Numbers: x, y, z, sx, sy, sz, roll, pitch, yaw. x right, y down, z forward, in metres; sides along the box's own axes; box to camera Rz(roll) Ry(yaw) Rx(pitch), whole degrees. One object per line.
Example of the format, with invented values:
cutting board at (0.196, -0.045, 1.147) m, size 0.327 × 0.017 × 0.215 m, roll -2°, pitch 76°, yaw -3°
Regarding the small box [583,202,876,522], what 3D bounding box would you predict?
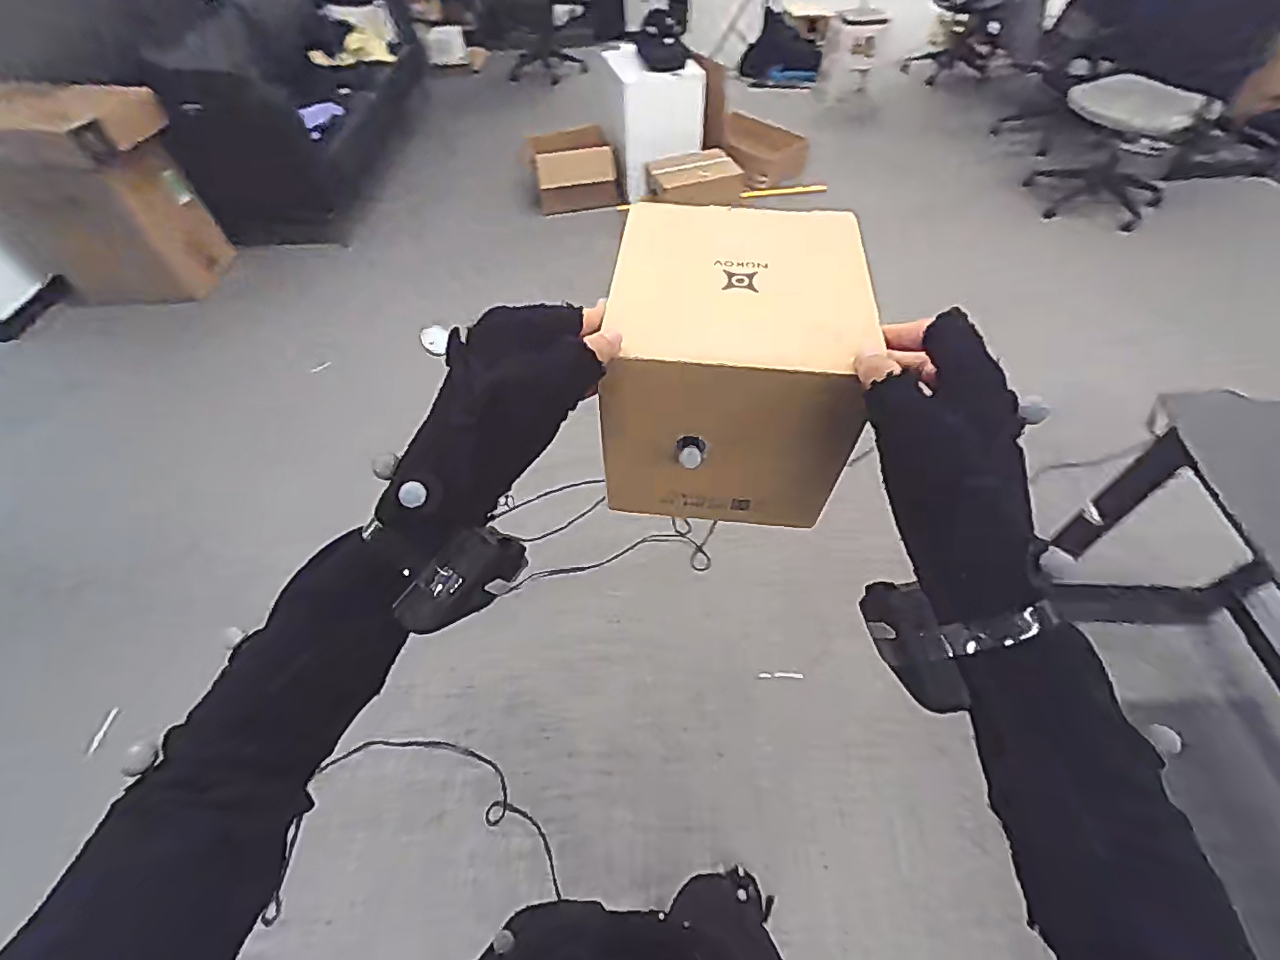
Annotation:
small box at (0.058, -0.084, 0.412) m, size 0.168 × 0.176 × 0.179 m, roll 4°, pitch 53°, yaw 3°
